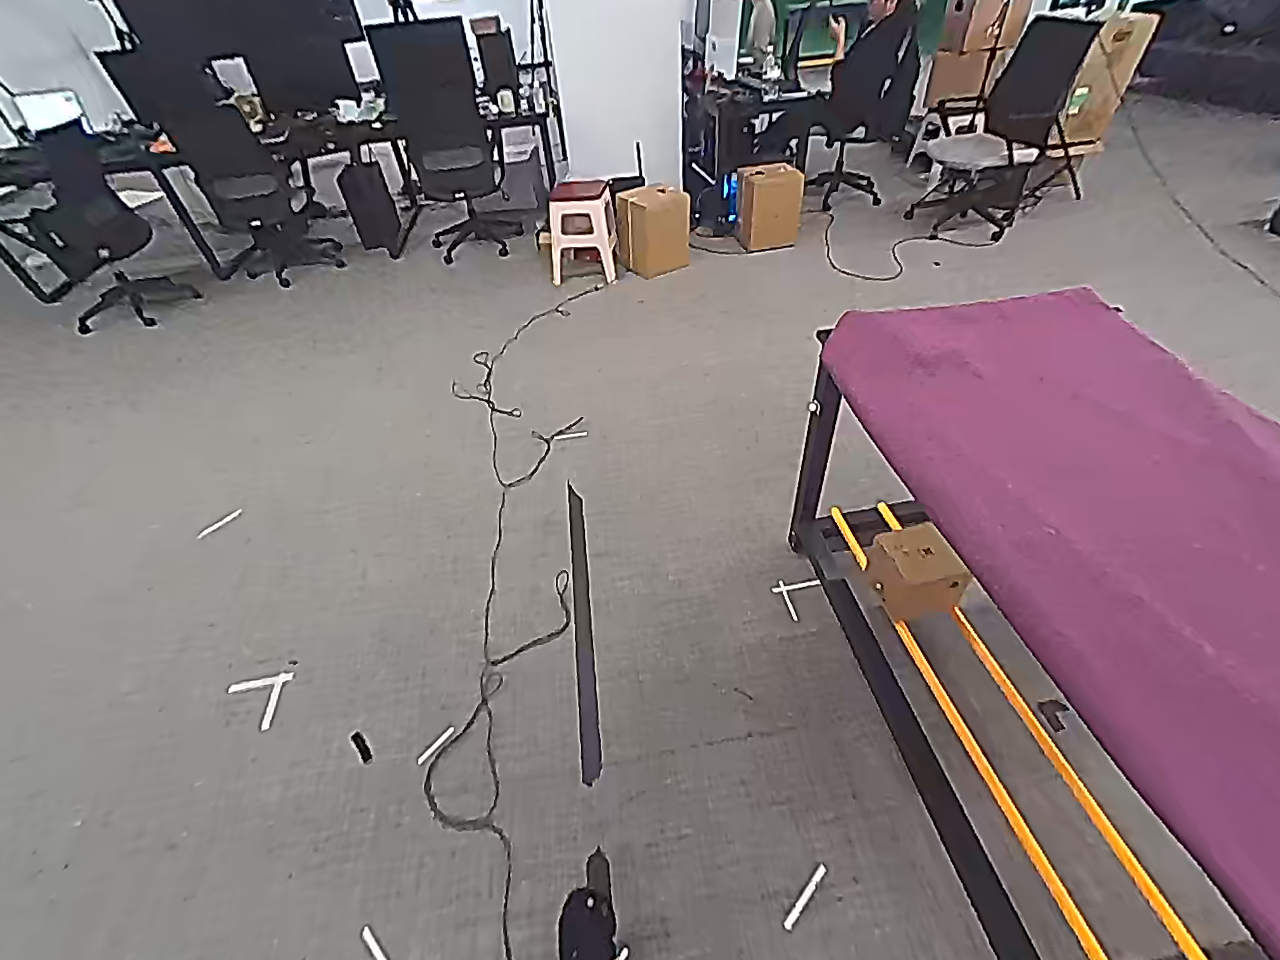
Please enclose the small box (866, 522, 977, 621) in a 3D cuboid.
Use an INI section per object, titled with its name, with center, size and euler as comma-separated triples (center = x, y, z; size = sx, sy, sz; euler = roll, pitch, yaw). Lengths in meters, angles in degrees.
[small box]
center = 0.712, 0.238, 1.391
size = 0.179, 0.176, 0.168
euler = -13, 44, -4
